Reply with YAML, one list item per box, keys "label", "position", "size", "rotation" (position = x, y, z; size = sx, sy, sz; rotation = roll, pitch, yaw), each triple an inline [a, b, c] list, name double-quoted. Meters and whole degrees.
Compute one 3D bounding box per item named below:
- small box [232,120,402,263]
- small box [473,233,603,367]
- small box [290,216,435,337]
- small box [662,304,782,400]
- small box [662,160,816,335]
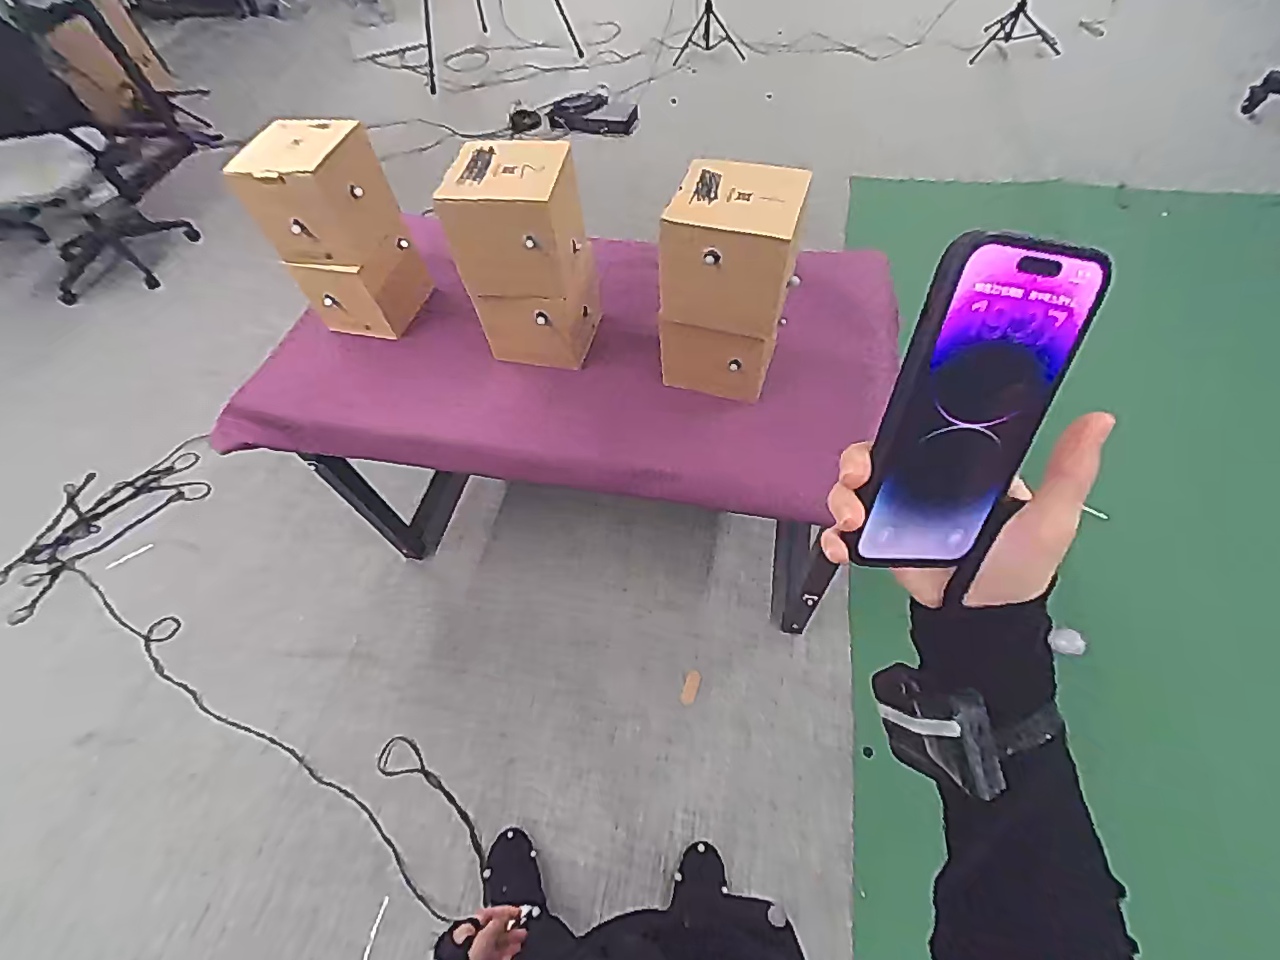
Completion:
- label: "small box"
  position: [-0.559, -0.511, 0.968]
  size: [0.168, 0.176, 0.179]
  rotation: [6, 59, 8]
- label: "small box"
  position: [-0.177, -0.333, 1.014]
  size: [0.179, 0.176, 0.168]
  rotation: [10, 58, 11]
- label: "small box"
  position: [-0.549, -0.415, 1.101]
  size: [0.168, 0.176, 0.179]
  rotation: [10, 58, 11]
- label: "small box"
  position: [0.149, -0.263, 0.942]
  size: [0.179, 0.176, 0.168]
  rotation: [15, 59, 15]
- label: "small box"
  position: [0.141, -0.338, 0.796]
  size: [0.179, 0.176, 0.168]
  rotation: [15, 59, 14]
